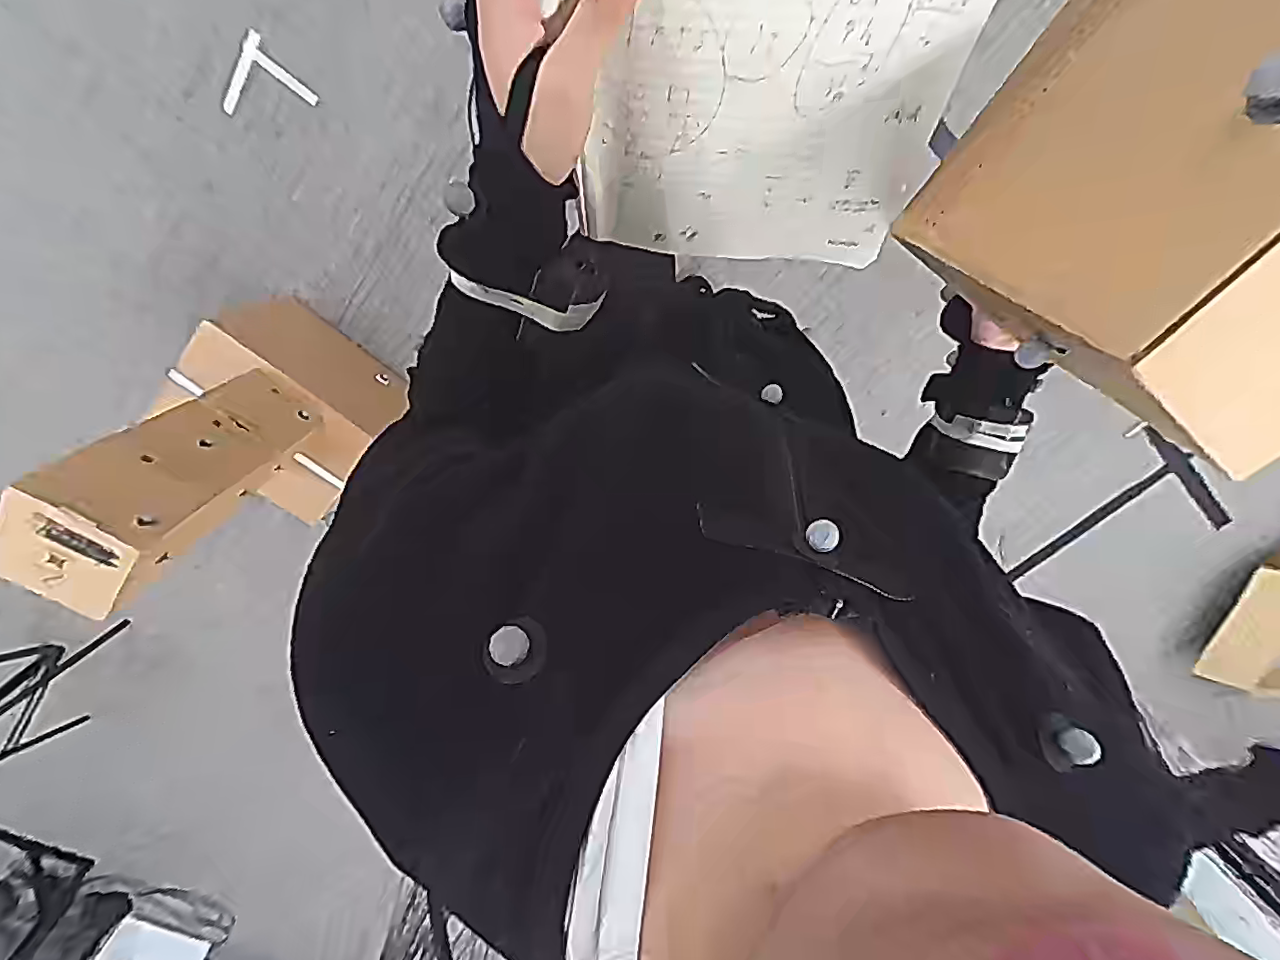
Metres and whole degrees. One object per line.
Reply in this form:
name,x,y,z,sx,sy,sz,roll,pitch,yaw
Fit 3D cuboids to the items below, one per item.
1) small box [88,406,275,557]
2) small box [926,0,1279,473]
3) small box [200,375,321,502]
small box,-0.802,-0.004,0.967,0.168,0.176,0.179,40,110,-18
small box,0.279,-0.138,0.265,0.168,0.176,0.179,18,122,-30
small box,-0.796,-0.088,1.108,0.179,0.176,0.168,-40,111,19
